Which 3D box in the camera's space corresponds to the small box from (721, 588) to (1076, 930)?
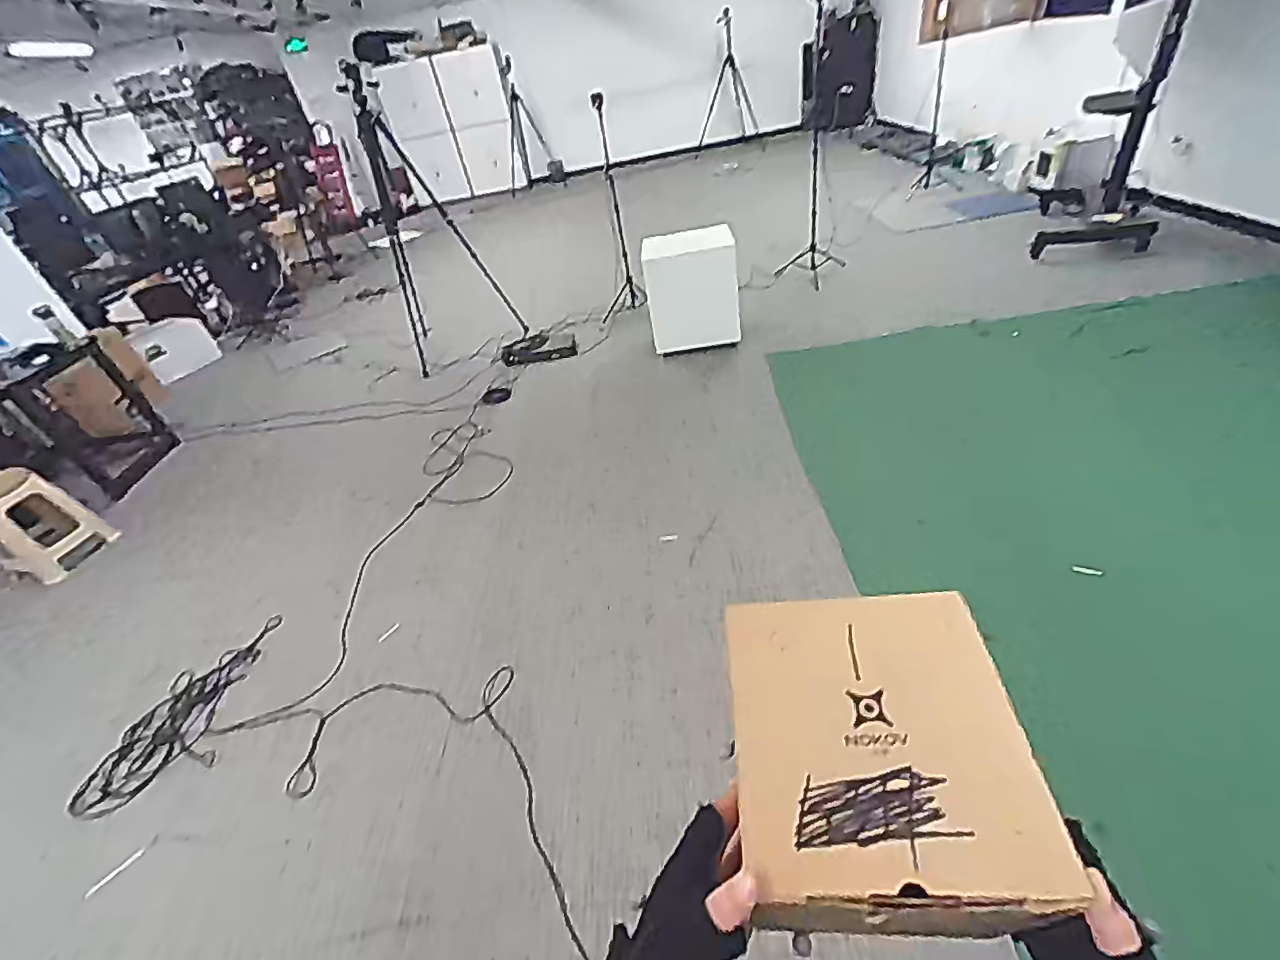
[{"bbox_3d":[0.150,0.200,0.385,0.168,0.176,0.179,-5,44,8],"label":"small box"}]
